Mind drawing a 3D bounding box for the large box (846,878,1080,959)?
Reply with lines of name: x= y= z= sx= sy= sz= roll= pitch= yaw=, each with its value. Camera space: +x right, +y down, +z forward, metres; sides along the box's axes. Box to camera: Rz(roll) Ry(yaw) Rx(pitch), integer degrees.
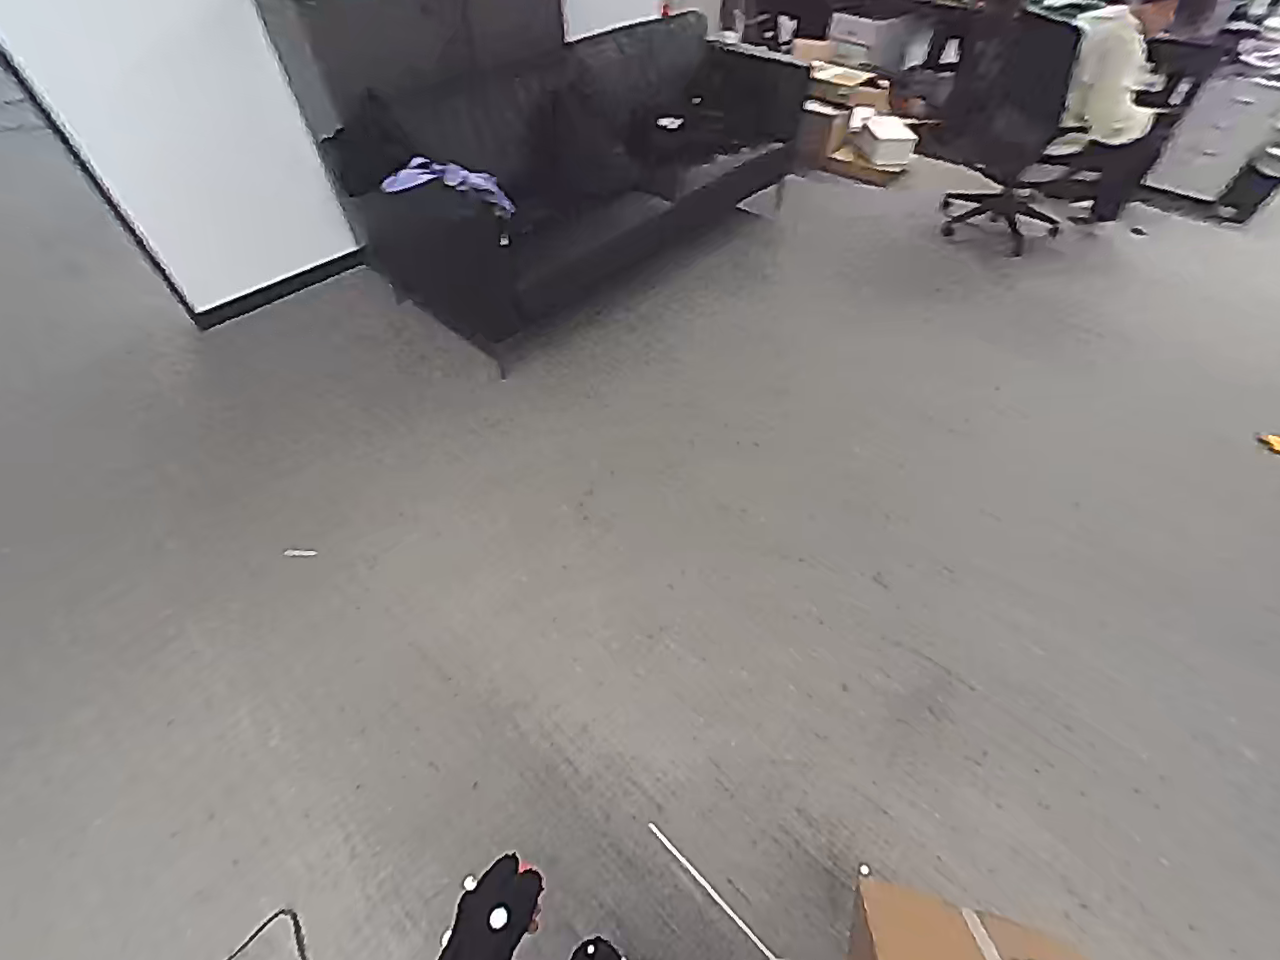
large box: x=0.426 y=0.791 z=0.643 sx=0.320 sy=0.408 sz=0.320 roll=9 pitch=84 yaw=15
